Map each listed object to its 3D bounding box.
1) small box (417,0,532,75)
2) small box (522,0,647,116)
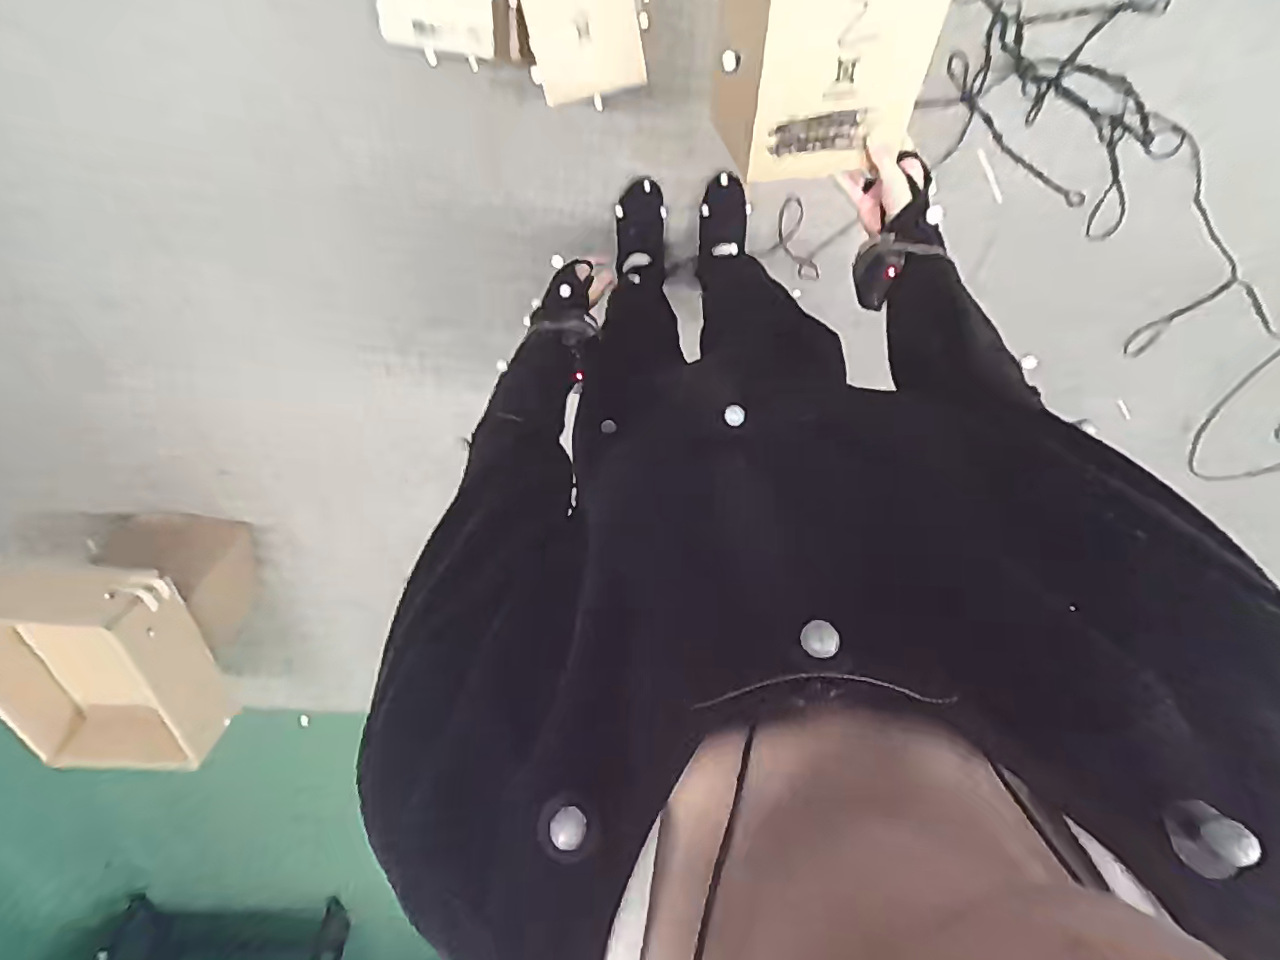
[{"bbox_3d":[-0.290,-0.845,0.975,0.179,0.176,0.168,4,123,-4],"label":"small box"},{"bbox_3d":[-0.083,-0.711,0.876,0.168,0.176,0.179,-10,123,6],"label":"small box"}]
